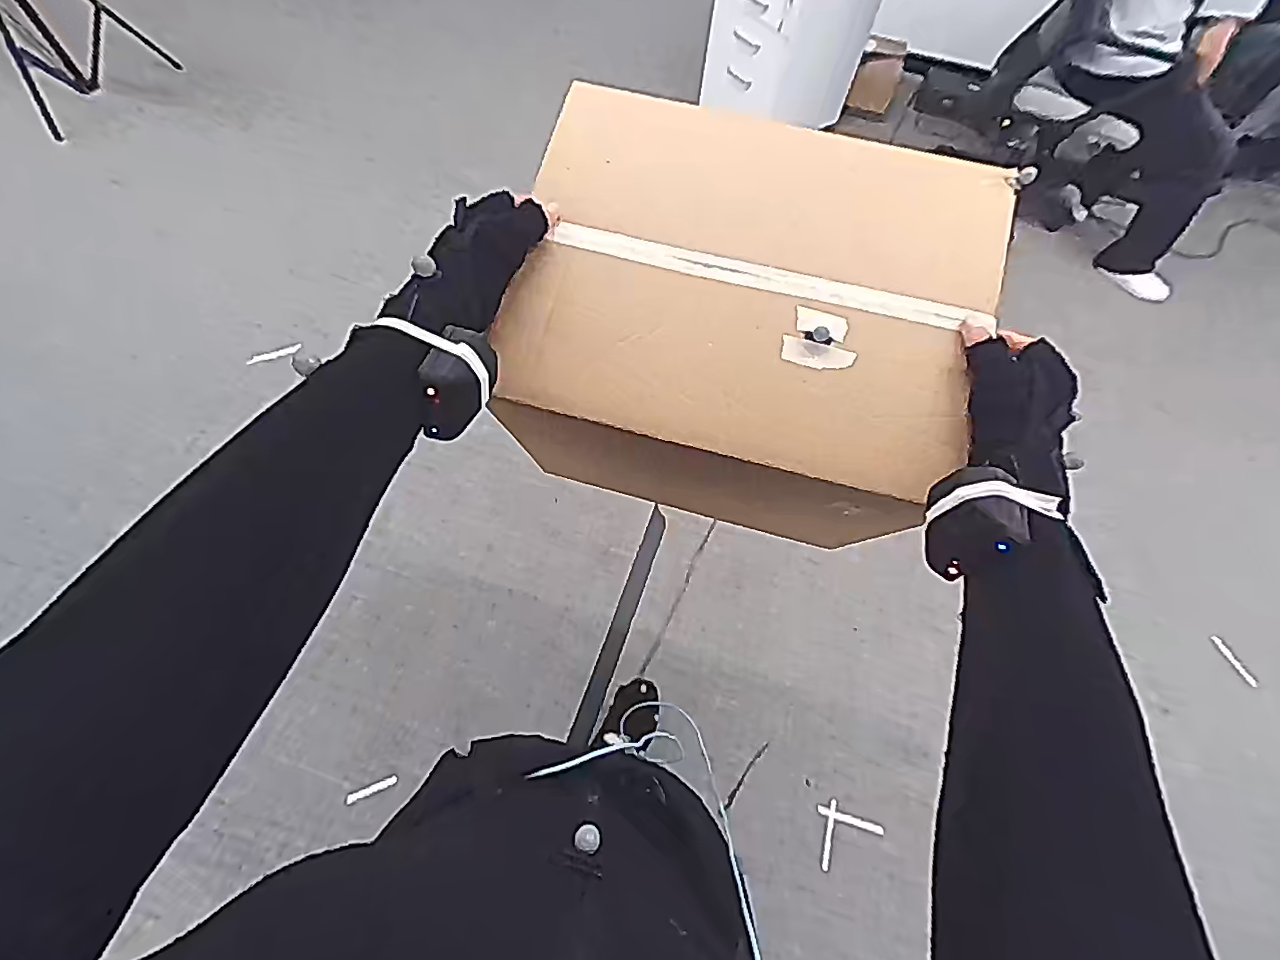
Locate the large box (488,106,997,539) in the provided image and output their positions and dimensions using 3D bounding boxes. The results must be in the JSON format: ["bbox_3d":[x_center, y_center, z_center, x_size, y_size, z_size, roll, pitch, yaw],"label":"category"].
[{"bbox_3d":[0.098,-0.140,0.620,0.408,0.320,0.320,15,80,4],"label":"large box"}]
